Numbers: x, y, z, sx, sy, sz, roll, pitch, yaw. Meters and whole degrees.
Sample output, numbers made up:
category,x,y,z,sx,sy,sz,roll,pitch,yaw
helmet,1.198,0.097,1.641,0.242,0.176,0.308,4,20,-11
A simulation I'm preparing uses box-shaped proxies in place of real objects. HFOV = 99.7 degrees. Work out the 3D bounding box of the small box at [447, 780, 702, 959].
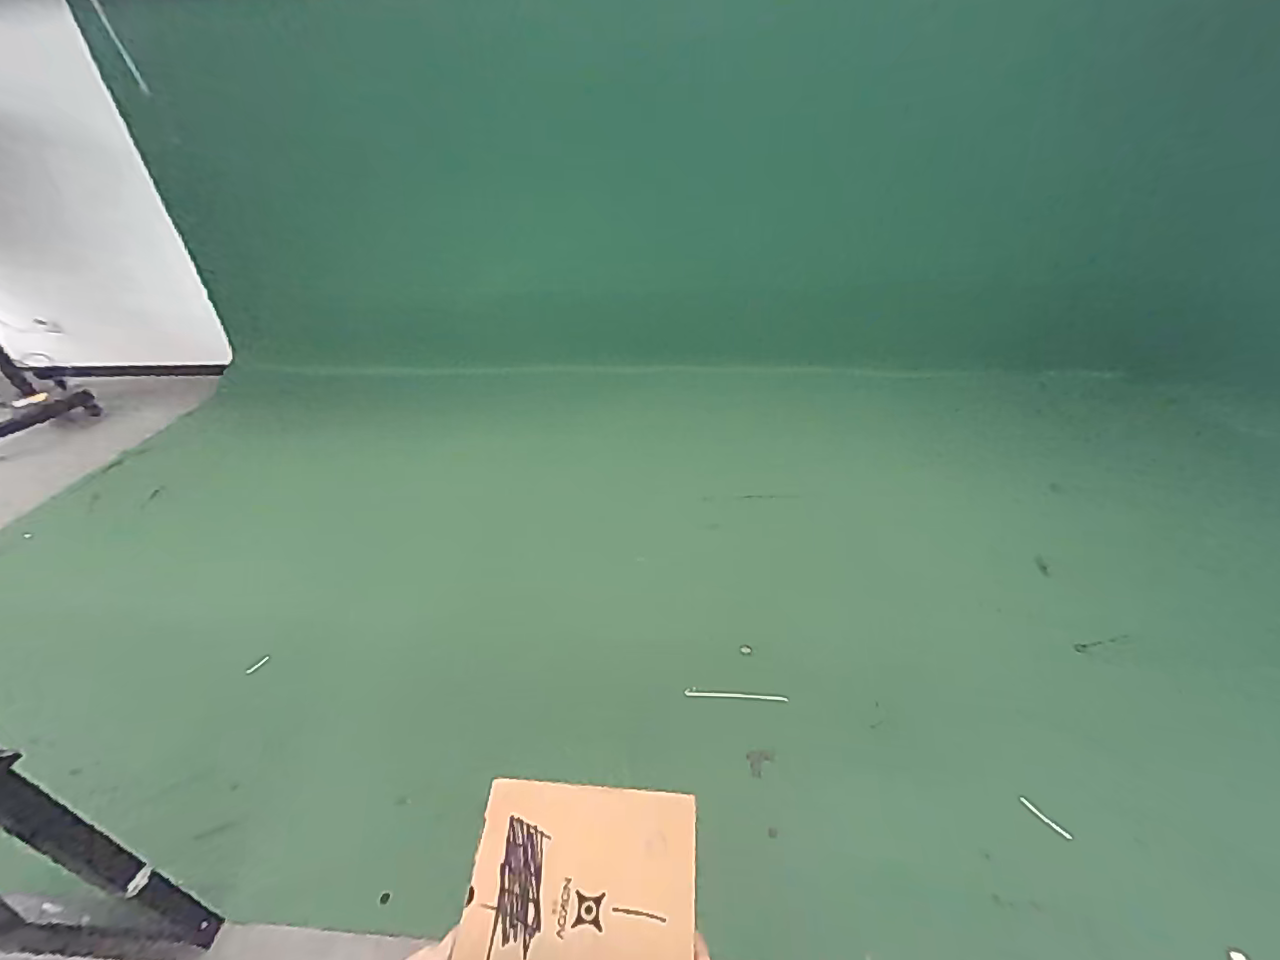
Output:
category,x,y,z,sx,sy,sz,roll,pitch,yaw
small box,-0.042,0.369,0.442,0.179,0.176,0.168,3,44,4
